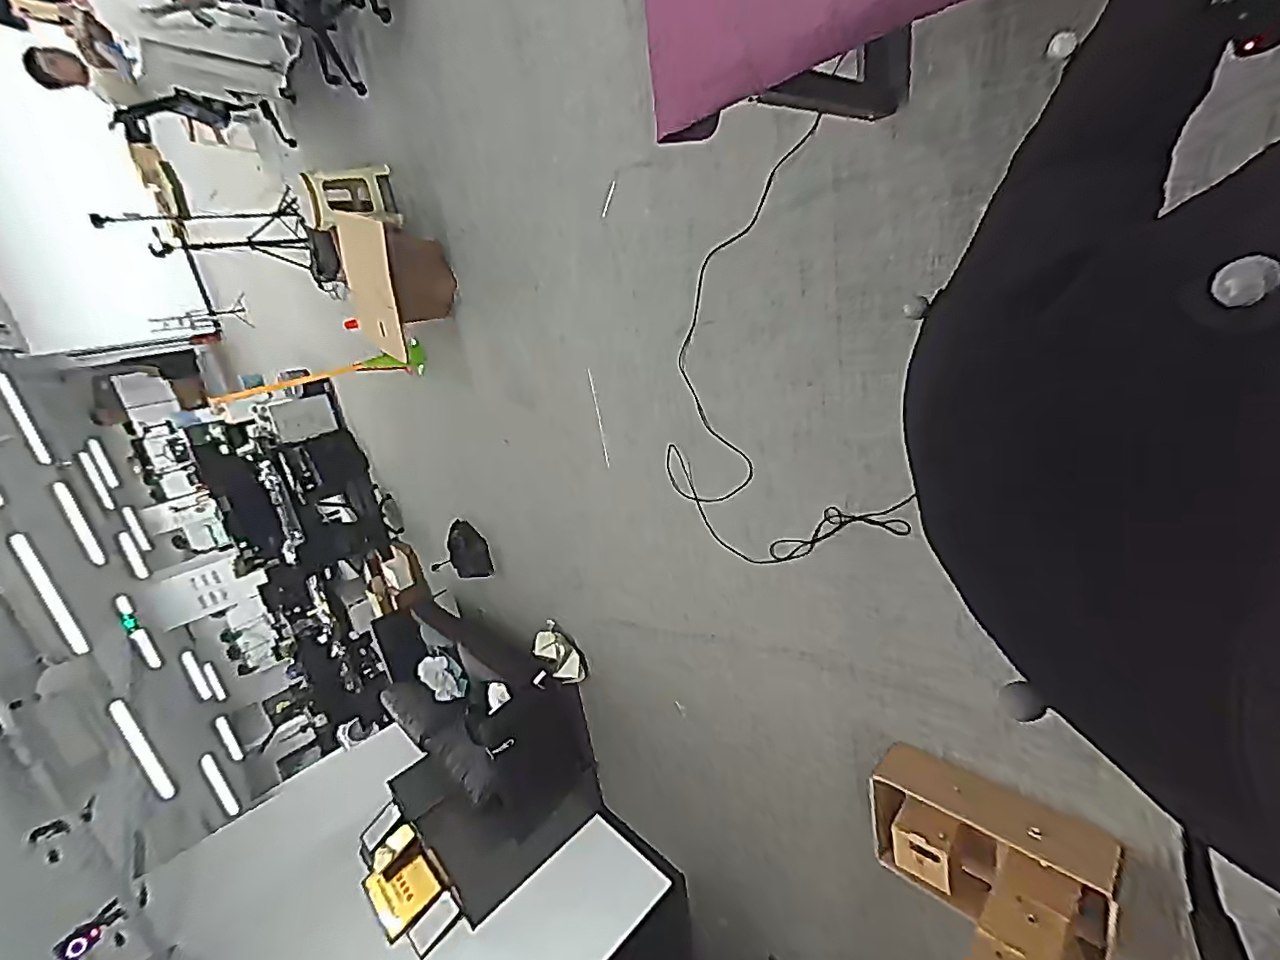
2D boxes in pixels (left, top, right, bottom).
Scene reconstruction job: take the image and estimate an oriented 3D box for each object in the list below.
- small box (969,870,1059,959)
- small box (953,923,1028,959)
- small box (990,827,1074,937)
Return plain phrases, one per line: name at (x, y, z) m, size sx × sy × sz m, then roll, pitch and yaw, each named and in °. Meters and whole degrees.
small box at (1.002, 1.214, 1.449) m, size 0.168 × 0.176 × 0.179 m, roll 10°, pitch 118°, yaw 48°
small box at (0.887, 1.278, 1.352) m, size 0.168 × 0.176 × 0.179 m, roll 8°, pitch 117°, yaw 49°
small box at (1.118, 1.155, 1.546) m, size 0.168 × 0.176 × 0.179 m, roll 11°, pitch 119°, yaw 46°
